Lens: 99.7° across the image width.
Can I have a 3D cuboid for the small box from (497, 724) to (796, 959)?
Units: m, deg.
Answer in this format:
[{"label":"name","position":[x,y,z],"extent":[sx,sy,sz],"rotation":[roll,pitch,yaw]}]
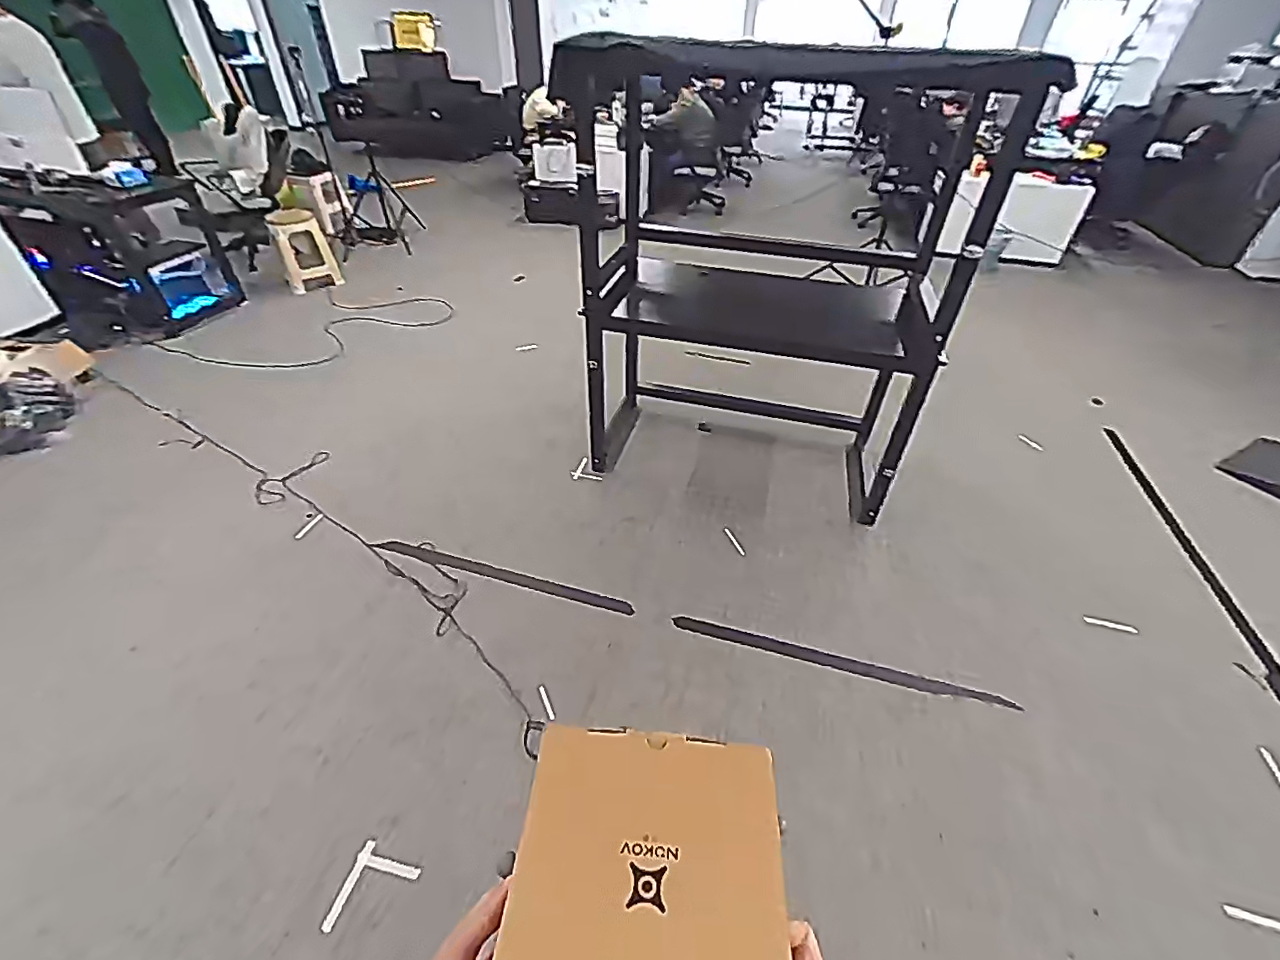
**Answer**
[{"label":"small box","position":[0.005,0.300,0.373],"extent":[0.168,0.176,0.179],"rotation":[5,38,2]}]
